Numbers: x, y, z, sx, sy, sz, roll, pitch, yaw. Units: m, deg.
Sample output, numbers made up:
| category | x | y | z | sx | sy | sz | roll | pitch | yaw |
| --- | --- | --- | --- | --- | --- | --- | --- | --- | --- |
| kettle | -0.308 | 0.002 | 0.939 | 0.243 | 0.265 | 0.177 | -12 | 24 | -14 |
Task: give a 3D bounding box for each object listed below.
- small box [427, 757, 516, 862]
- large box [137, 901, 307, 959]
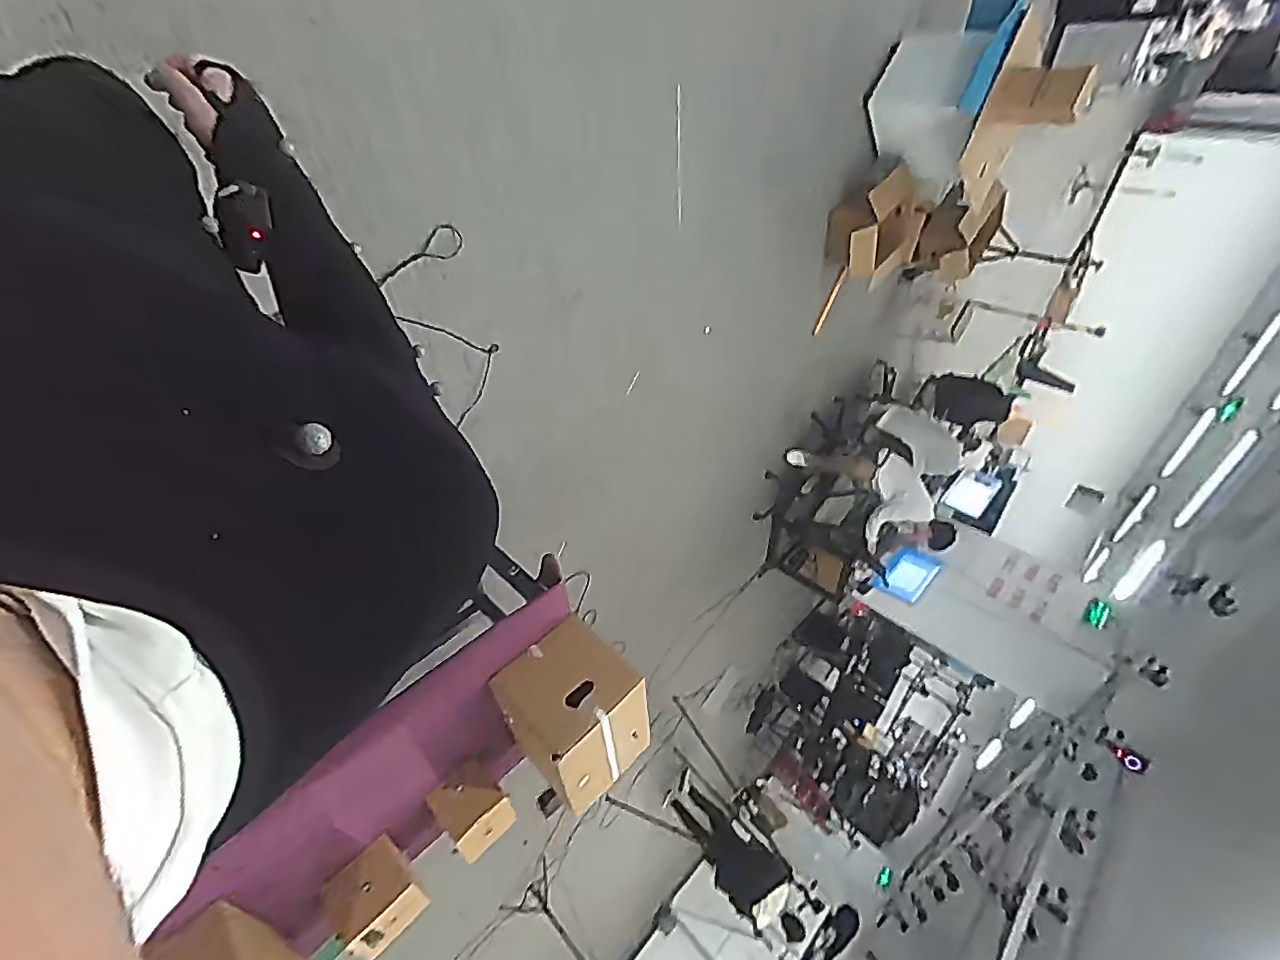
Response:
| category | x | y | z | sx | sy | sz | roll | pitch | yaw |
| --- | --- | --- | --- | --- | --- | --- | --- | --- | --- |
| small box | -0.487 | 0.945 | 1.564 | 0.168 | 0.176 | 0.179 | -34 | 139 | -33 |
| large box | -0.884 | 1.166 | 1.101 | 0.320 | 0.320 | 0.408 | -35 | 139 | -34 |
